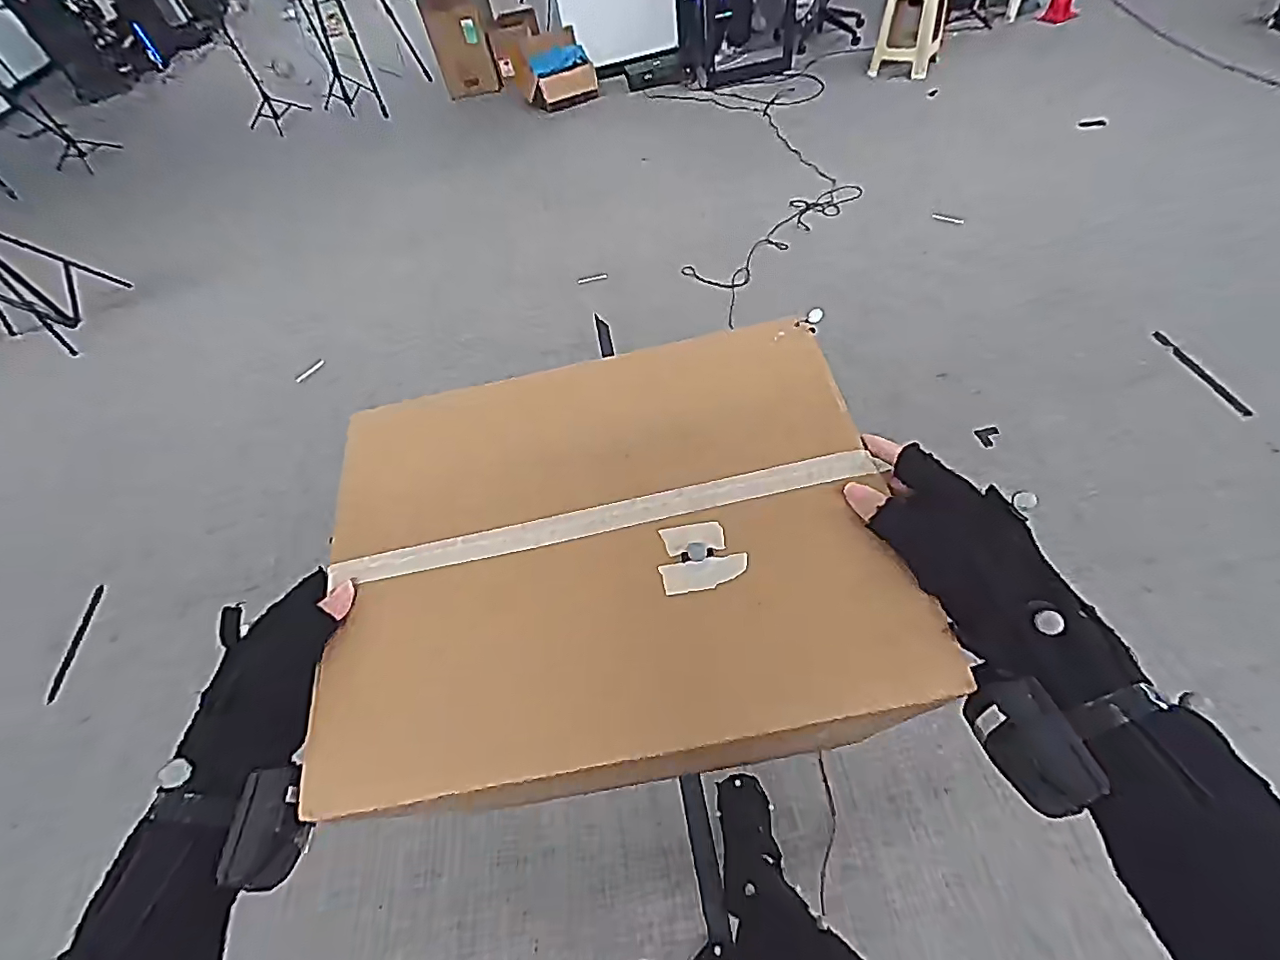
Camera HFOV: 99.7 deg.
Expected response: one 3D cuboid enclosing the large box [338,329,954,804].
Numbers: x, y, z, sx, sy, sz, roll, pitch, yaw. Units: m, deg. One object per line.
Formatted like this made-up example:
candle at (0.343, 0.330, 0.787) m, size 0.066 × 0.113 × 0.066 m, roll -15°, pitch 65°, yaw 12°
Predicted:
large box at (-0.005, 0.108, 0.539) m, size 0.408 × 0.320 × 0.320 m, roll -12°, pitch 59°, yaw 1°
